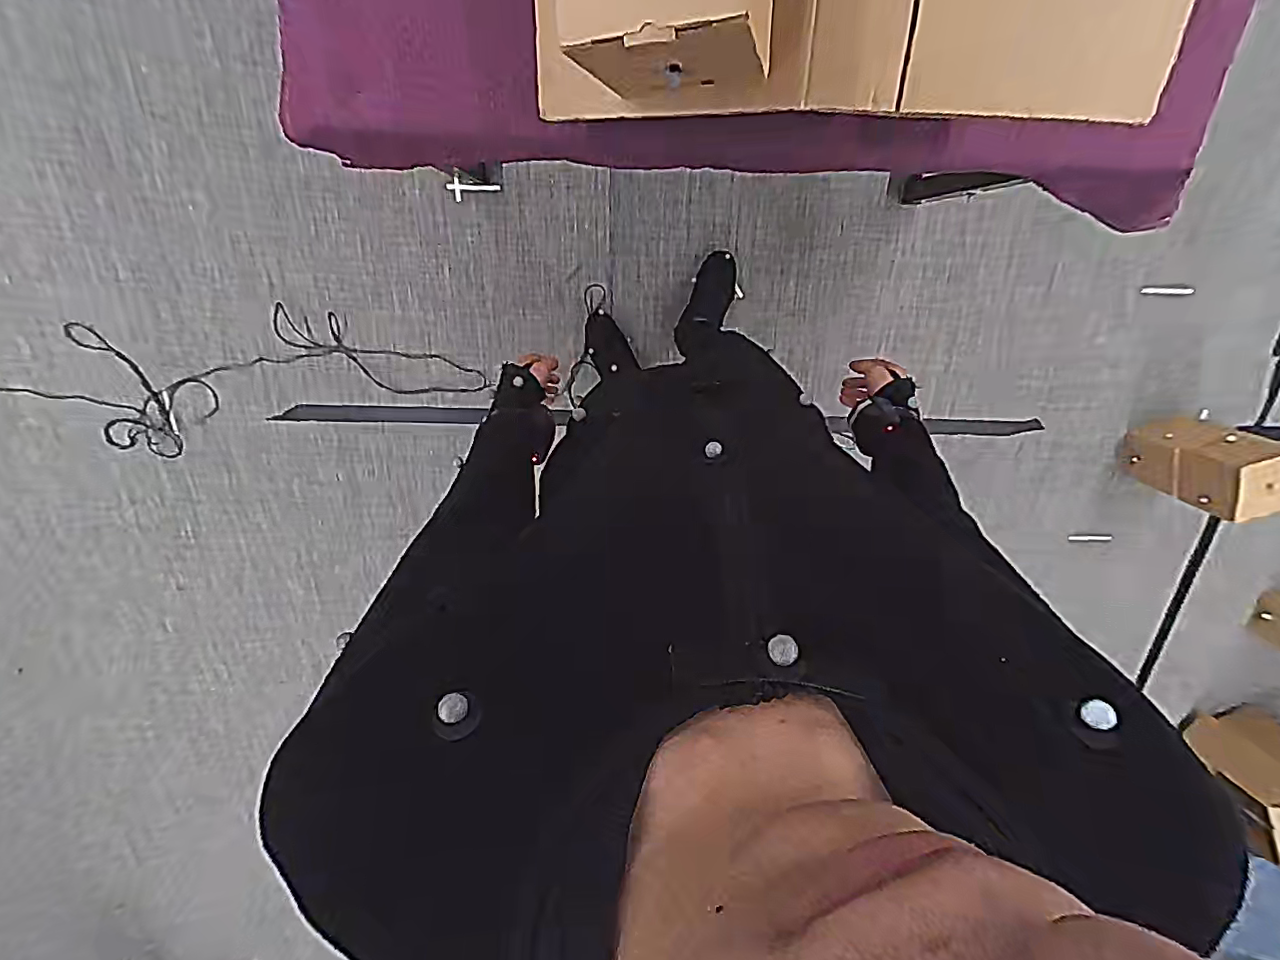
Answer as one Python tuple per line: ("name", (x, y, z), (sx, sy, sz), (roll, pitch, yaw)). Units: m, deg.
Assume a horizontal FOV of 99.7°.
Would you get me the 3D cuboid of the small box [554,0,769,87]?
("small box", (0.028, -0.477, 0.486), (0.168, 0.176, 0.179), (5, 114, 16))
